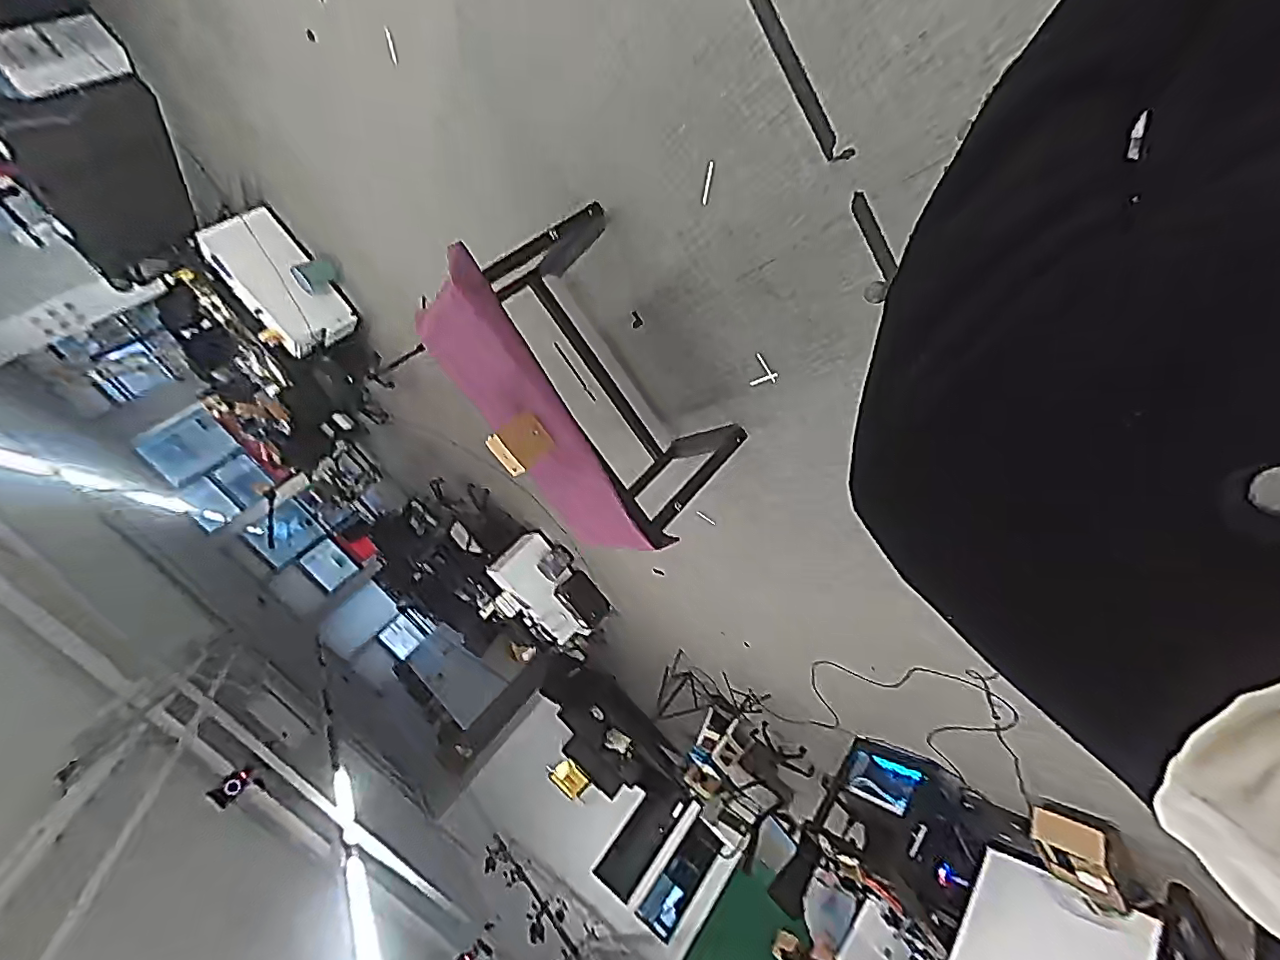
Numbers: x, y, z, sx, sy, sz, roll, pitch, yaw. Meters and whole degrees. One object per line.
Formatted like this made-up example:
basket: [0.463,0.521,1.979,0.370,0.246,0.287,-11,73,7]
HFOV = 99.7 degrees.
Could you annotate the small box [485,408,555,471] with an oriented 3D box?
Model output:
small box: [-0.462,-0.161,2.096,0.179,0.176,0.168,53,154,-14]
